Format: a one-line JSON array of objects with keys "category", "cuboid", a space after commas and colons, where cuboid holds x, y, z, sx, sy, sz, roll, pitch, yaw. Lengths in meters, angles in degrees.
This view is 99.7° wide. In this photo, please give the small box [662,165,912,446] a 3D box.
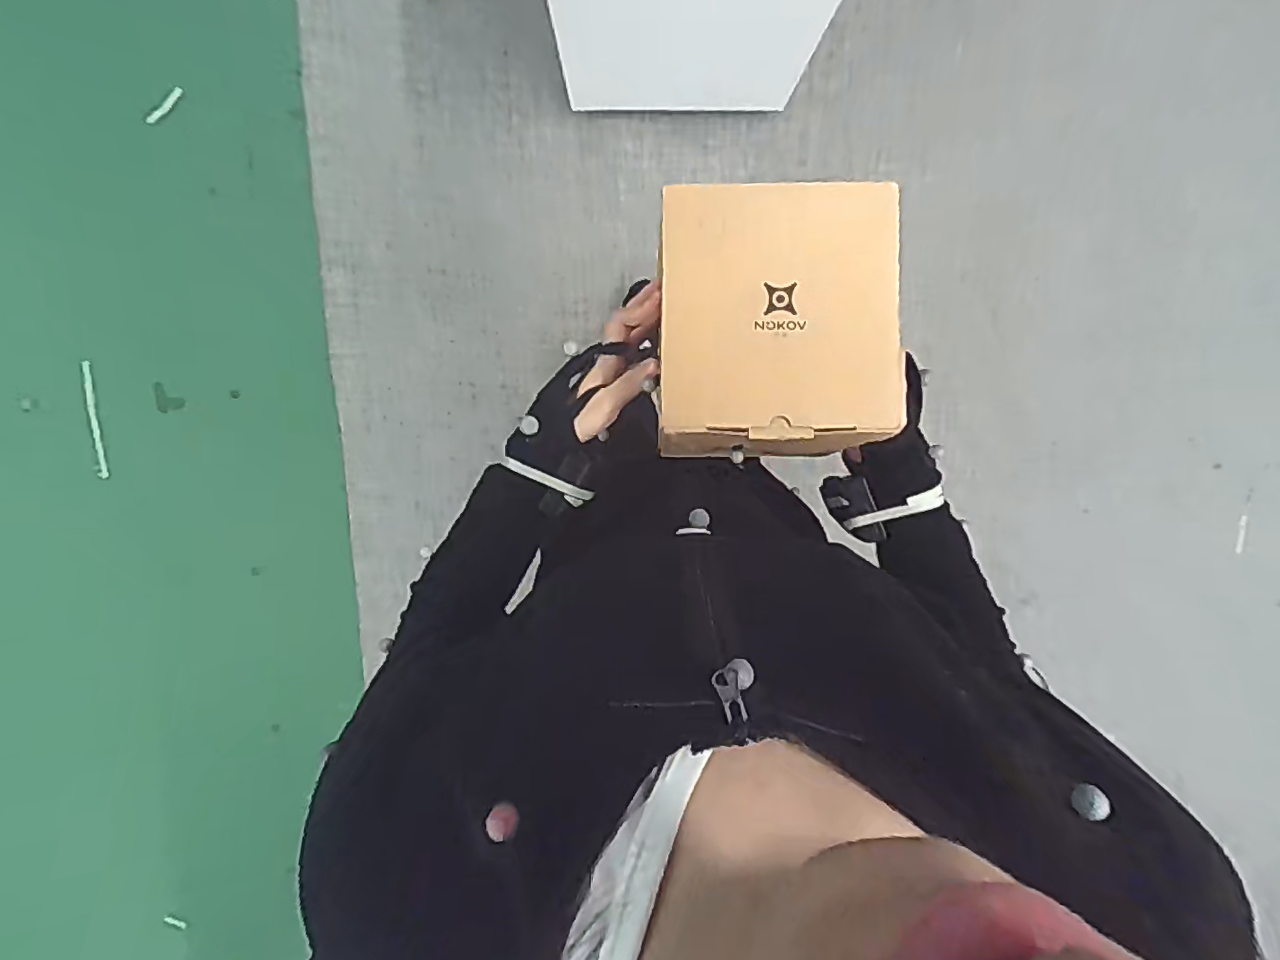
[{"category": "small box", "cuboid": [0.102, -0.125, 0.447, 0.168, 0.176, 0.179, -1, 87, 2]}]
